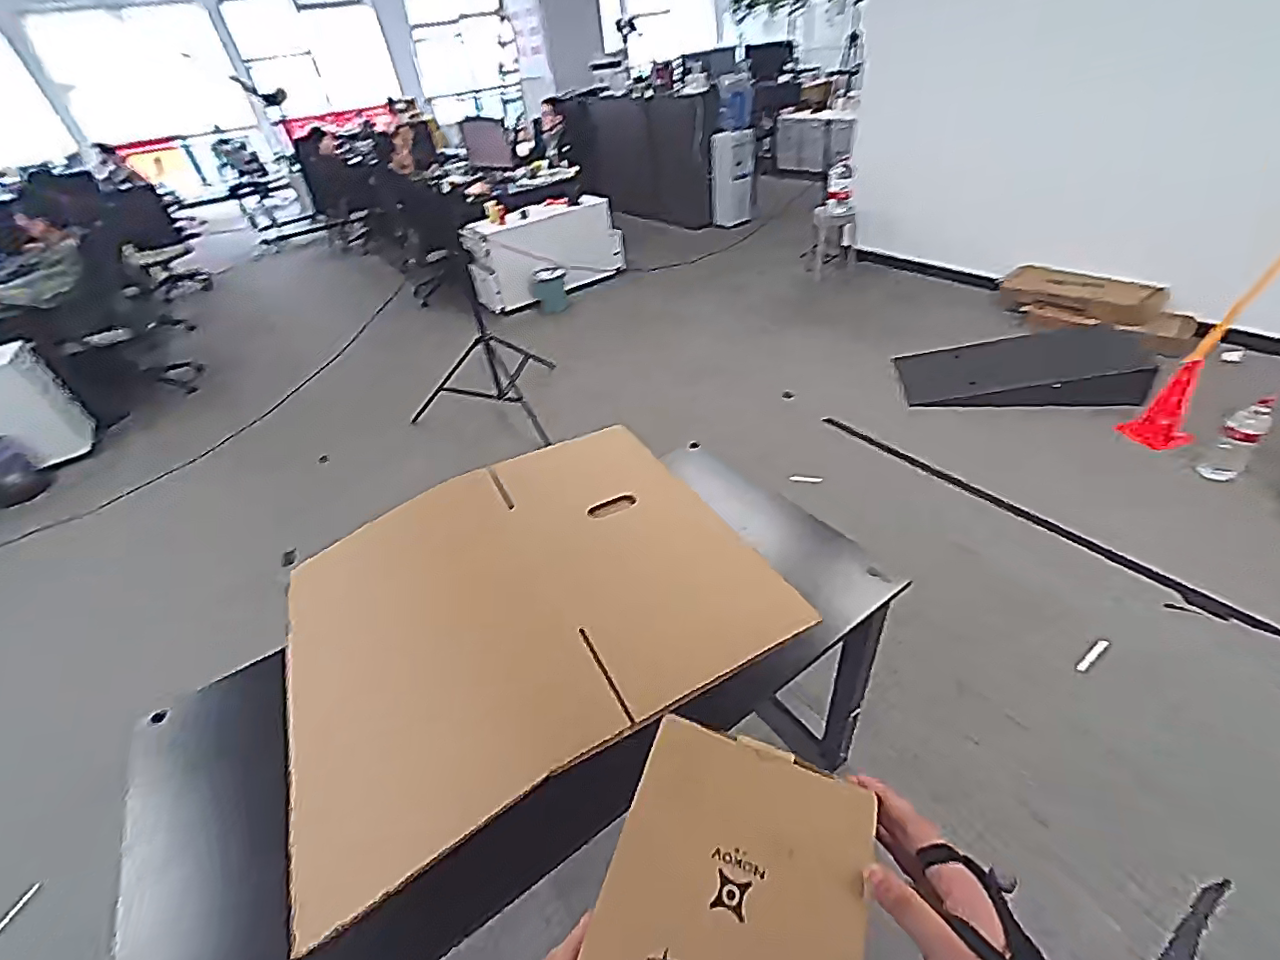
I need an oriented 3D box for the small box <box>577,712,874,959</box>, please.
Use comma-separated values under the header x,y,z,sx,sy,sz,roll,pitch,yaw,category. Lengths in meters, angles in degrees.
x,y,z,sx,sy,sz,roll,pitch,yaw,category
0.069,0.321,0.421,0.168,0.176,0.179,13,49,18,small box
